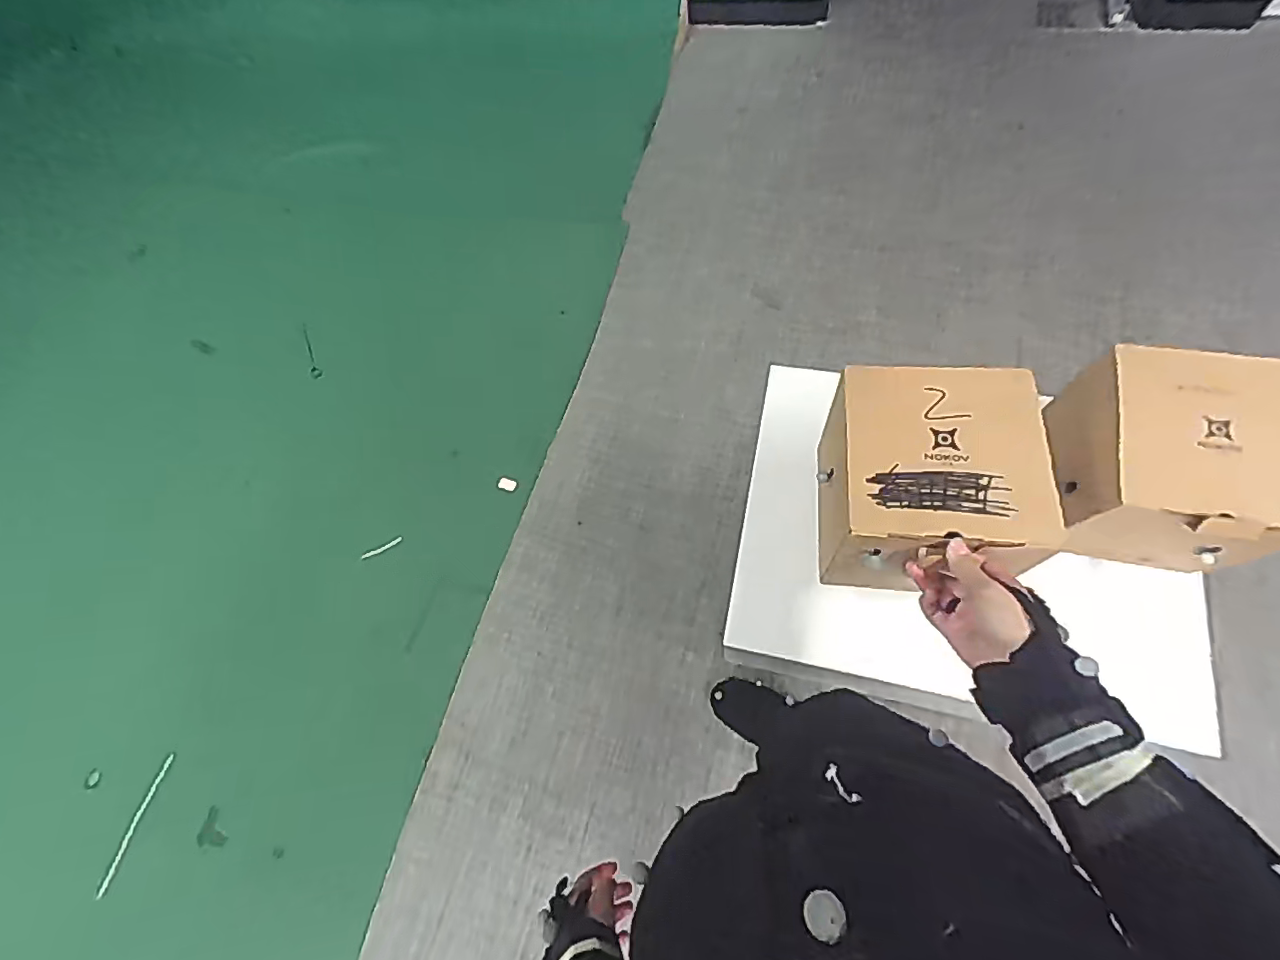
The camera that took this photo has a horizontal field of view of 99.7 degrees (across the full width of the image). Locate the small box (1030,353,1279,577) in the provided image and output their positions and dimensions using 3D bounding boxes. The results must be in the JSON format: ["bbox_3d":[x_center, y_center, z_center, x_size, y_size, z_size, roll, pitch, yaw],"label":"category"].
[{"bbox_3d":[0.545,-0.006,0.571,0.168,0.176,0.179,9,71,12],"label":"small box"}]
